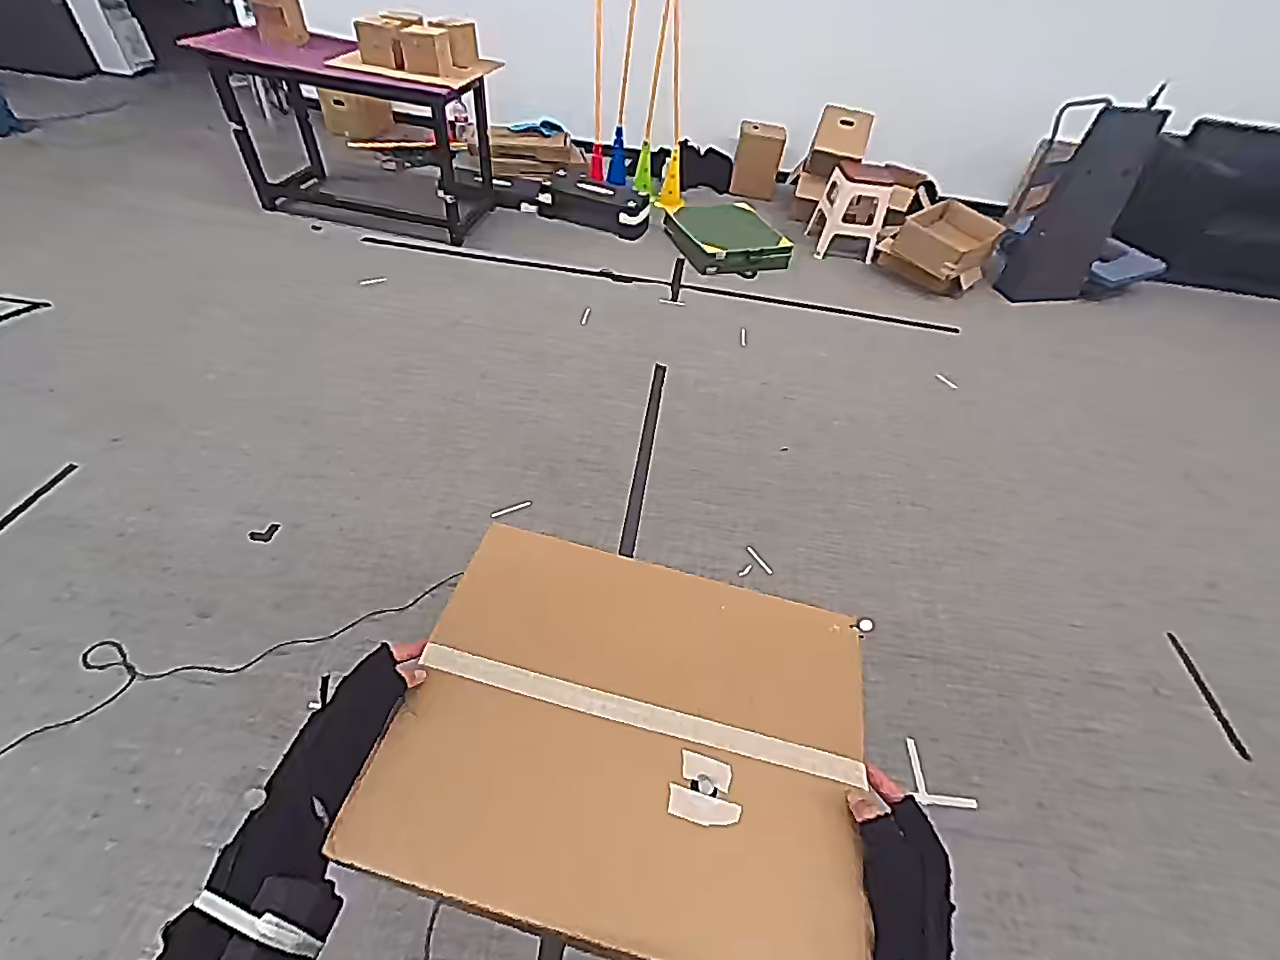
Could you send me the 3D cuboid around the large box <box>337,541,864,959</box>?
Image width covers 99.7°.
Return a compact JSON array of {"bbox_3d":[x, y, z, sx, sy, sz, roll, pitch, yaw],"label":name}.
[{"bbox_3d":[-0.022,0.318,0.595,0.408,0.320,0.320,15,49,3],"label":"large box"}]
